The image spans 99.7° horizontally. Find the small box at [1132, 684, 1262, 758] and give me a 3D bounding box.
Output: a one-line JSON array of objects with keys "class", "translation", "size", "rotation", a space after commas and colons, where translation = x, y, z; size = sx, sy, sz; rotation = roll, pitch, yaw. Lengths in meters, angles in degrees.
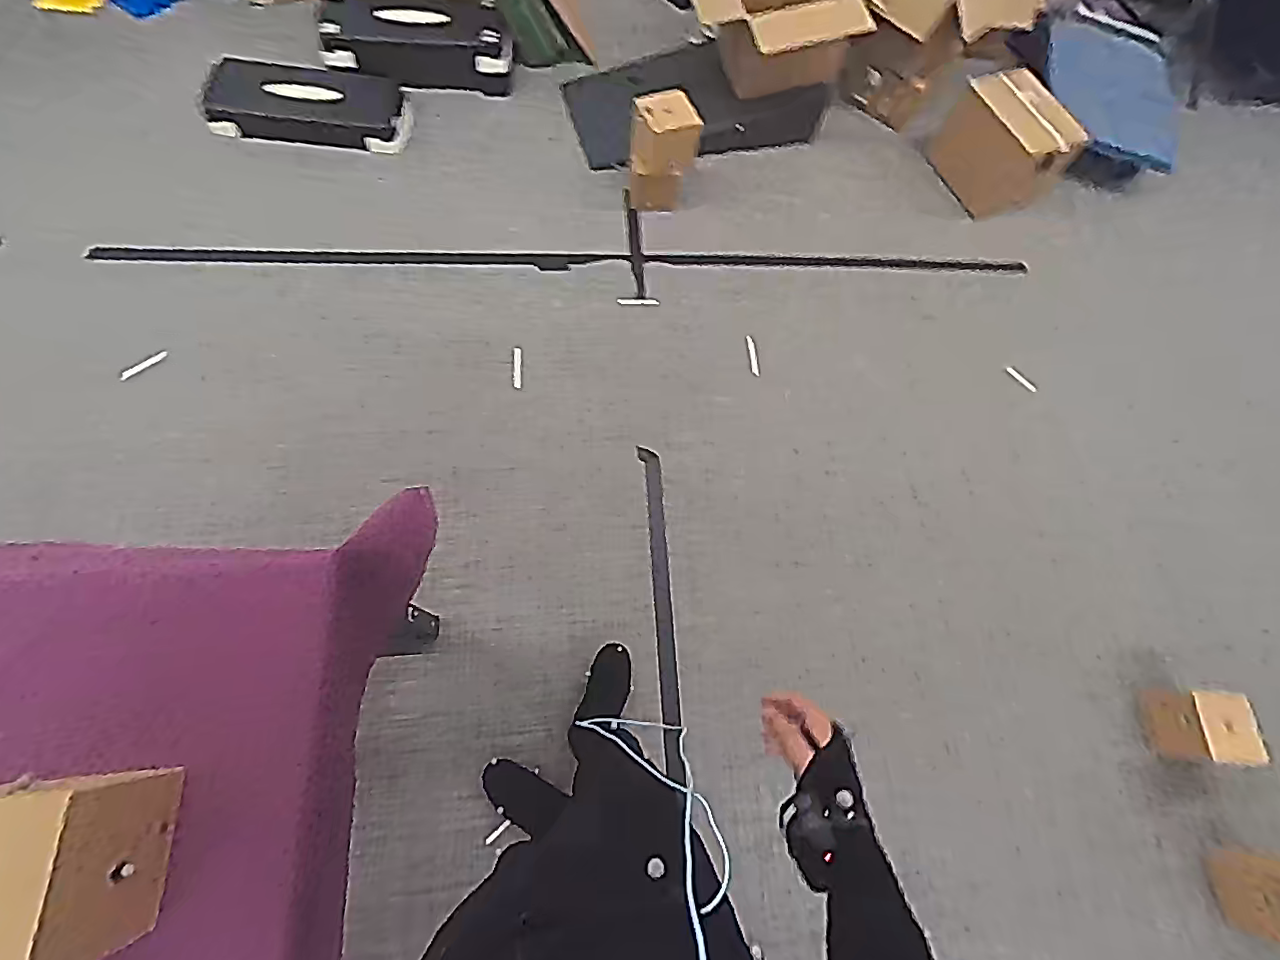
[{"class": "small box", "translation": [1.553, 0.673, 1.521], "size": [0.168, 0.176, 0.179], "rotation": [5, 68, -5]}]

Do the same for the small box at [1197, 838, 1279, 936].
[{"class": "small box", "translation": [1.609, 1.041, 1.386], "size": [0.168, 0.176, 0.179], "rotation": [-4, 71, -8]}]

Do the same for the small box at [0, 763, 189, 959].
[{"class": "small box", "translation": [-0.624, 0.401, 0.560], "size": [0.179, 0.176, 0.168], "rotation": [-2, 70, -7]}]
